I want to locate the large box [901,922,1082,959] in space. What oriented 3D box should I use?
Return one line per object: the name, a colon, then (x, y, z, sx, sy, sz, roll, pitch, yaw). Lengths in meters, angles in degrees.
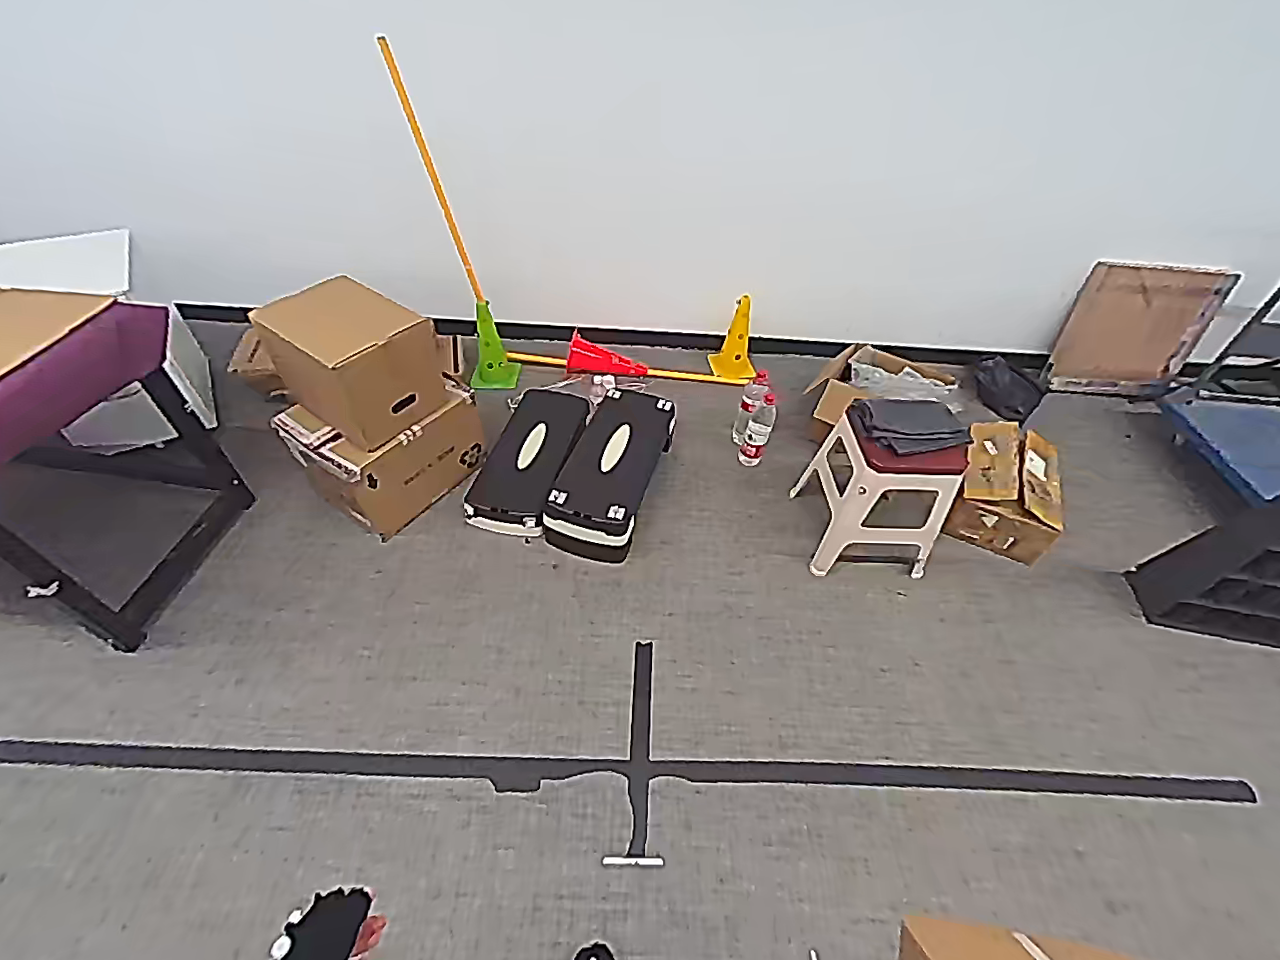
large box: (0.481, 0.756, 0.528, 0.320, 0.408, 0.320, 9, 81, 4)
